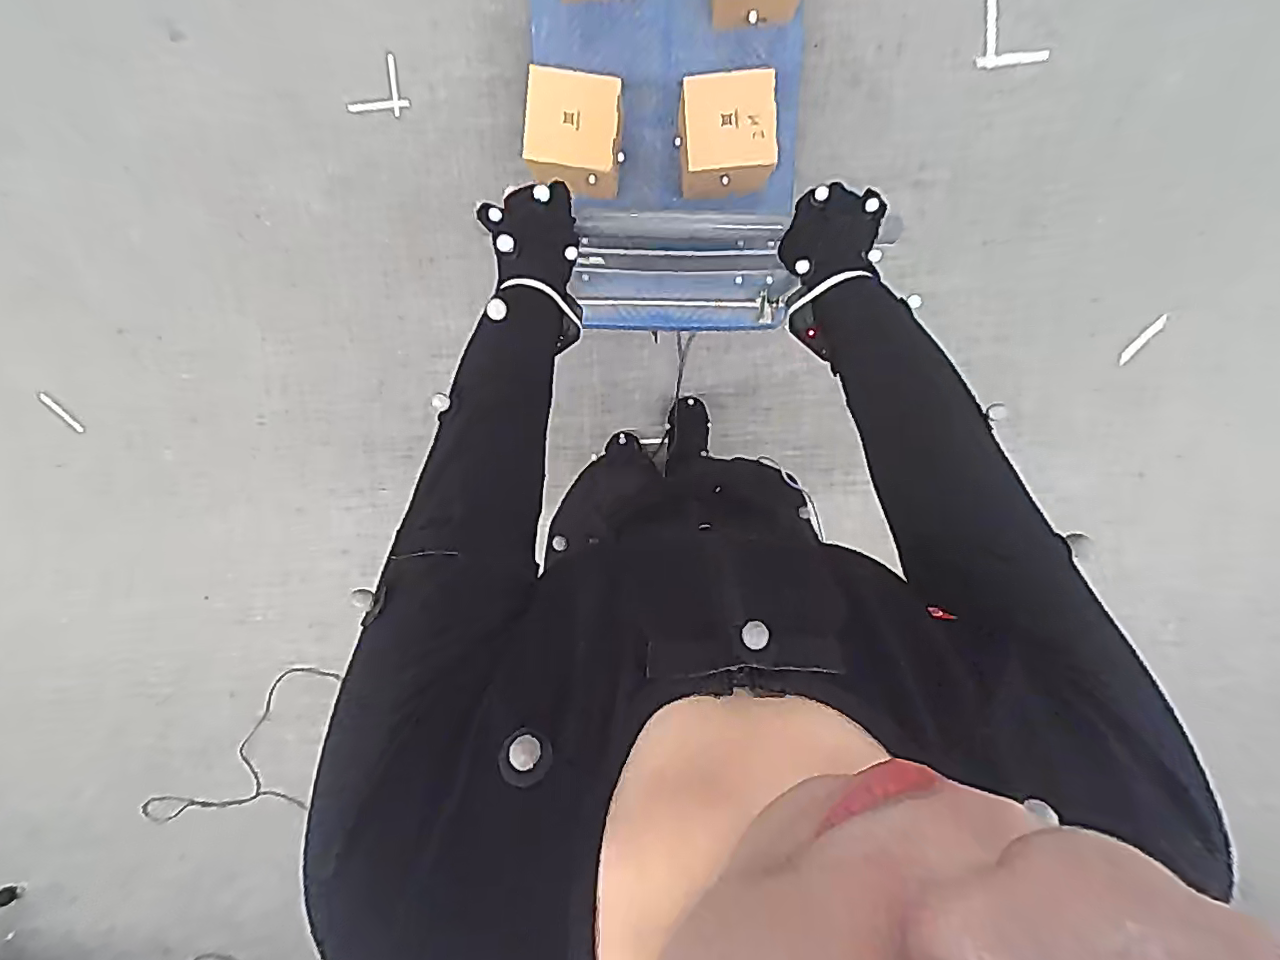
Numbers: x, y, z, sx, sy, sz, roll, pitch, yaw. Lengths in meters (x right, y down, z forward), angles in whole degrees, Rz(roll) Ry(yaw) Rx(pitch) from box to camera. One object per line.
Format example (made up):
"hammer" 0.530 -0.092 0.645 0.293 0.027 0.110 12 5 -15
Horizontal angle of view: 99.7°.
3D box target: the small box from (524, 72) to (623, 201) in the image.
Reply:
"small box" -0.131 -0.699 1.119 0.179 0.176 0.168 7 100 -2

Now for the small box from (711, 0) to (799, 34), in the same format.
"small box" 0.231 -1.025 1.059 0.168 0.176 0.179 -2 101 1

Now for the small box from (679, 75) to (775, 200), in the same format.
"small box" 0.172 -0.696 1.118 0.179 0.176 0.168 -5 100 1
